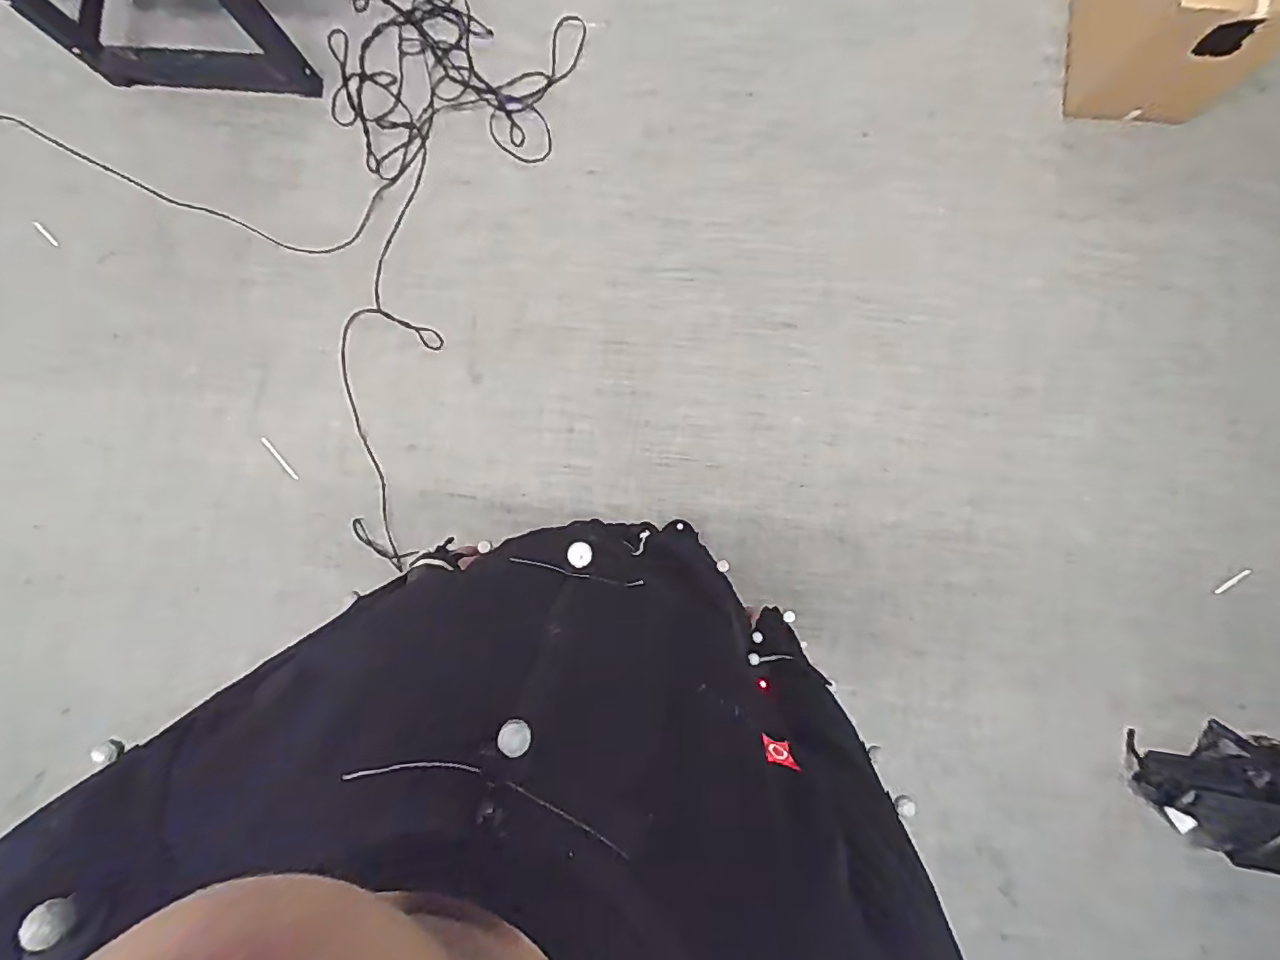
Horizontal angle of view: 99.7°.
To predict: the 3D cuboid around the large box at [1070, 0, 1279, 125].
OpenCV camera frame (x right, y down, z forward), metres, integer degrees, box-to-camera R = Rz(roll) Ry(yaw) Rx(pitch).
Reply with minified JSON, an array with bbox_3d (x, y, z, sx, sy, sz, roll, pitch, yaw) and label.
[{"bbox_3d":[1.248,-1.107,1.224,0.320,0.320,0.408,4,90,3],"label":"large box"}]
